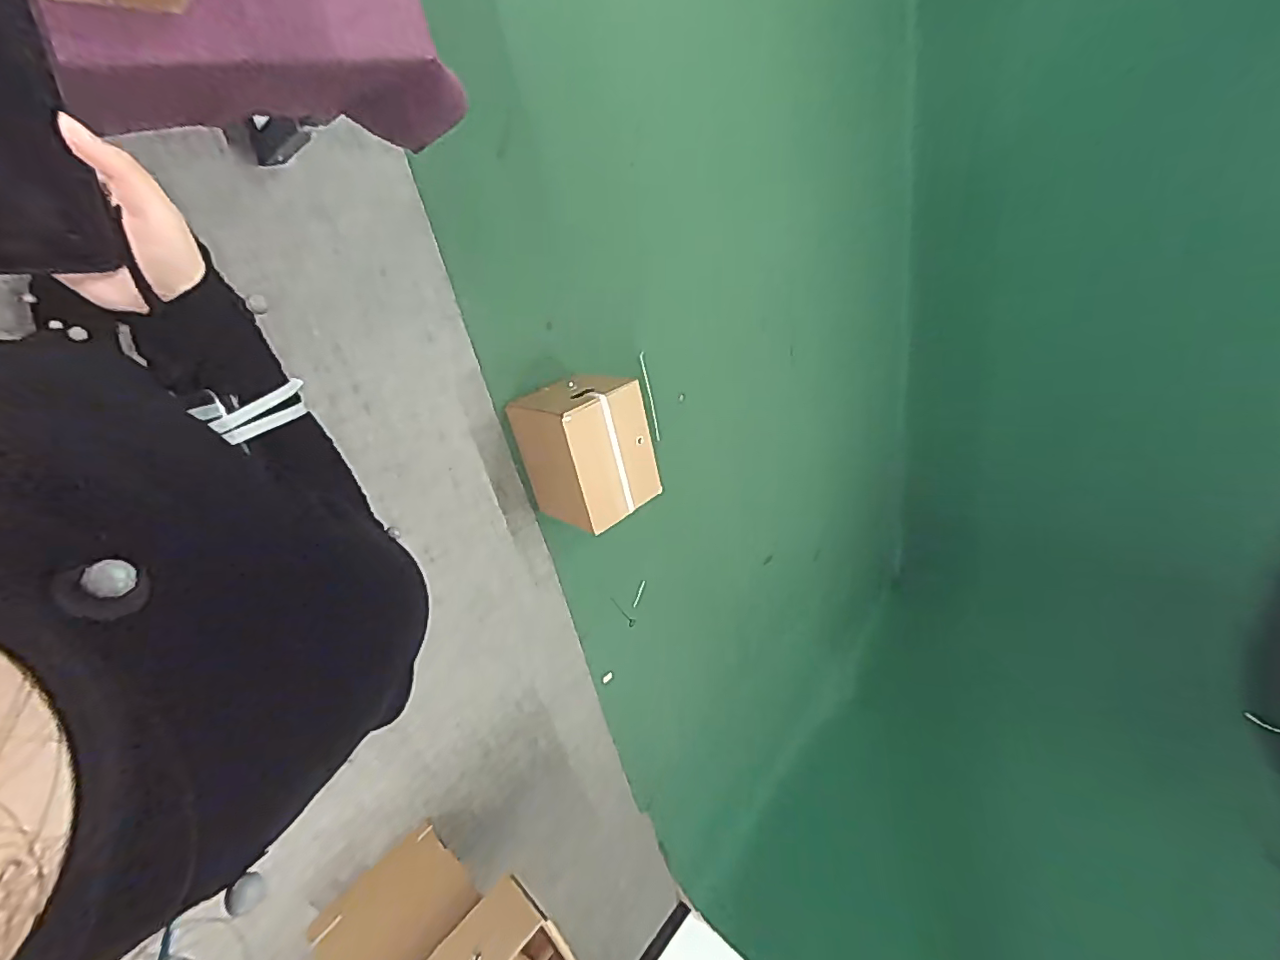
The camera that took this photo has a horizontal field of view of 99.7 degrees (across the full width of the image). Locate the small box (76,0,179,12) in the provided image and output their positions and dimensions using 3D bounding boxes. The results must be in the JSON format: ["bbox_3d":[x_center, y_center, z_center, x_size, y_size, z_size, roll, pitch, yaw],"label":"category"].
[{"bbox_3d":[-0.476,-0.505,0.408,0.168,0.176,0.179,-29,121,-37],"label":"small box"}]
